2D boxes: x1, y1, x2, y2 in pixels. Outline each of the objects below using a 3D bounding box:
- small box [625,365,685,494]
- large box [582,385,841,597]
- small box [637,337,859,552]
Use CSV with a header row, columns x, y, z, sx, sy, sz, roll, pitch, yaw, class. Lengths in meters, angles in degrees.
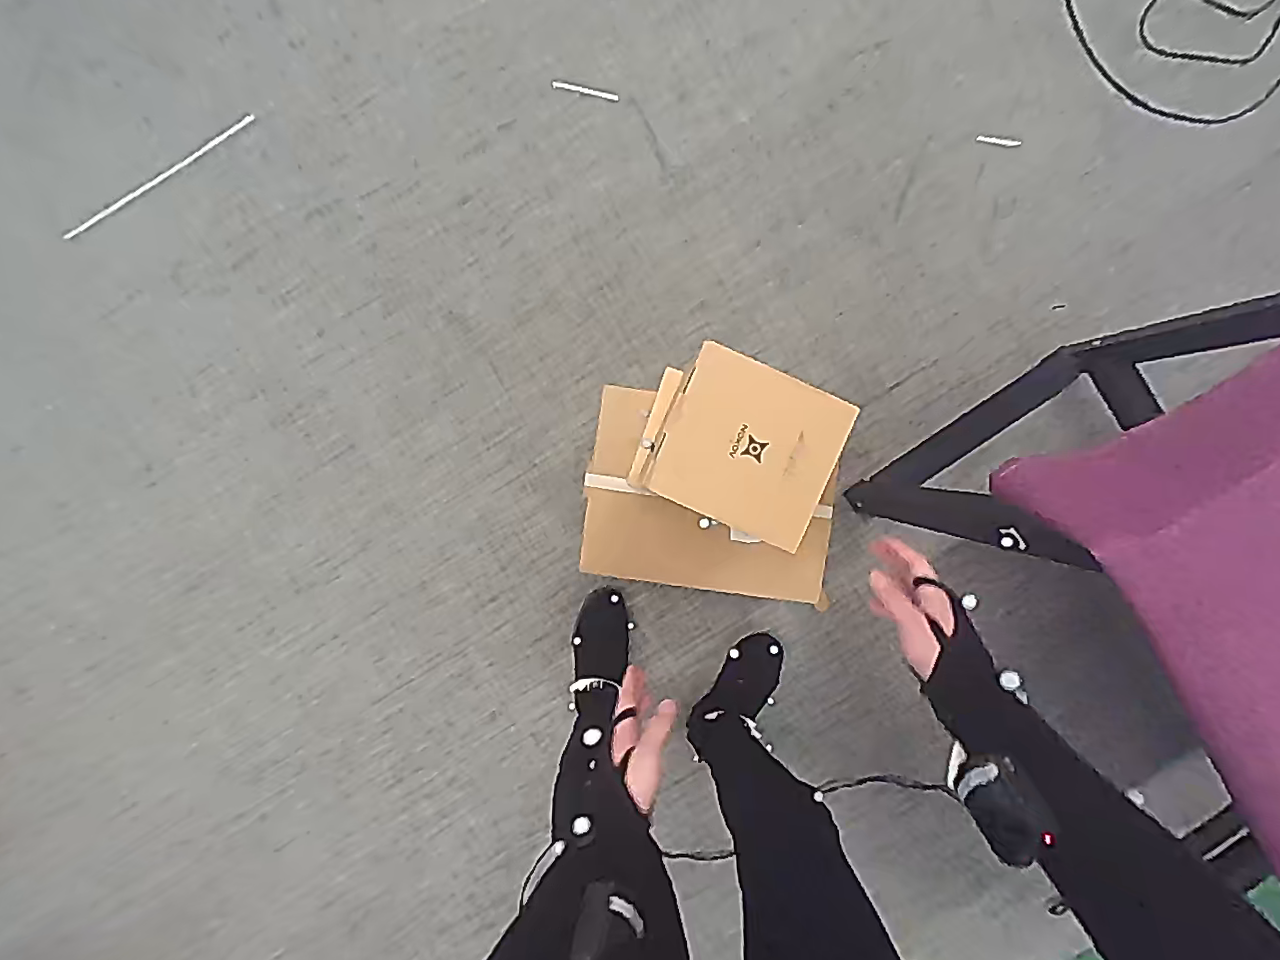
x,y,z,sx,sy,sz,roll,pitch,yaw,class
0.087,-0.046,0.779,0.179,0.176,0.168,19,91,-1,small box
0.114,0.014,1.025,0.408,0.320,0.320,7,93,-2,large box
0.106,-0.036,0.616,0.179,0.176,0.168,24,92,-2,small box
